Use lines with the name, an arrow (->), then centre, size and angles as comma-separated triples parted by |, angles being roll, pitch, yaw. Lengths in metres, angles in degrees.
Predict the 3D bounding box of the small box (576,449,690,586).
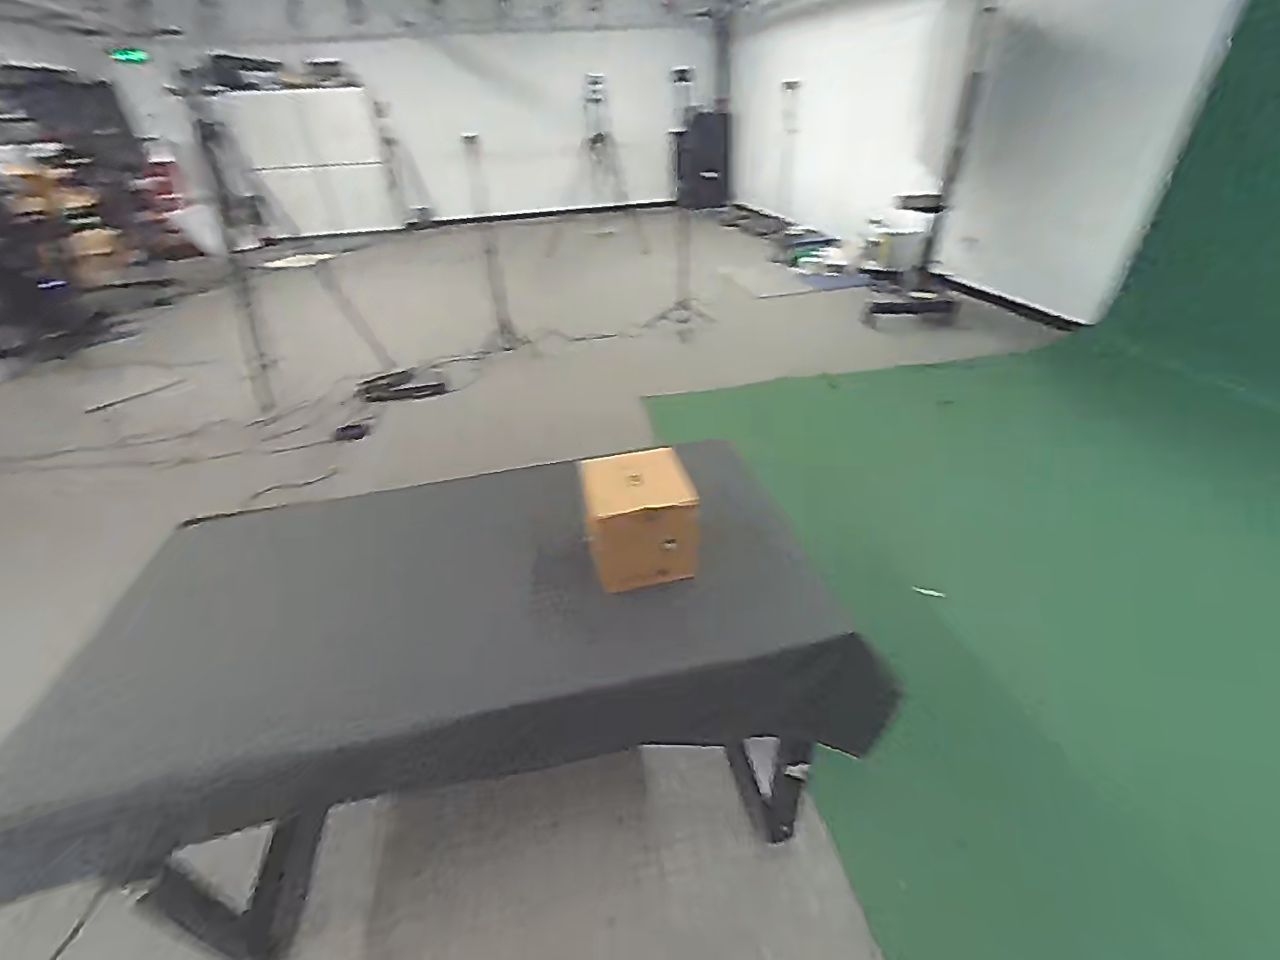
small box -> -0.013, 0.068, 0.946 | 0.168, 0.176, 0.179 | -9, 33, -10
